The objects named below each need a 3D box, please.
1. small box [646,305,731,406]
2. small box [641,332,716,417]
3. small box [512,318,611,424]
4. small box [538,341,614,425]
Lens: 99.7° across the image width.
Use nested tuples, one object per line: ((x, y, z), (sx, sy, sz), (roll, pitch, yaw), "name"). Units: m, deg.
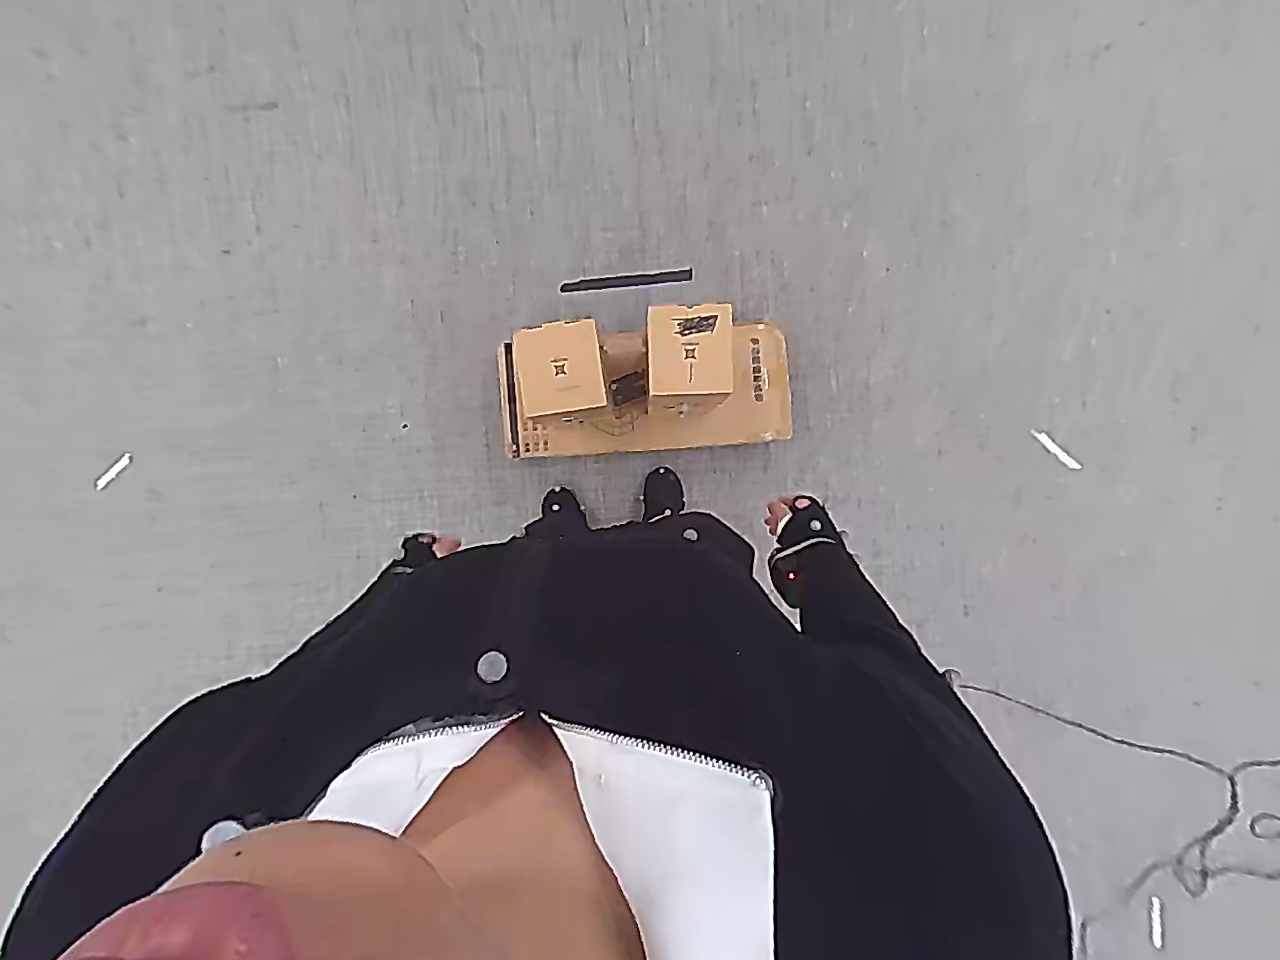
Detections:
((0.096, -0.253, 1.134), (0.168, 0.176, 0.179), (-1, 91, 1), "small box")
((0.090, -0.253, 1.298), (0.168, 0.176, 0.179), (-5, 91, 1), "small box")
((-0.158, -0.221, 1.137), (0.168, 0.176, 0.179), (-9, 91, 1), "small box")
((-0.157, -0.226, 1.301), (0.168, 0.176, 0.179), (-6, 91, 1), "small box")
